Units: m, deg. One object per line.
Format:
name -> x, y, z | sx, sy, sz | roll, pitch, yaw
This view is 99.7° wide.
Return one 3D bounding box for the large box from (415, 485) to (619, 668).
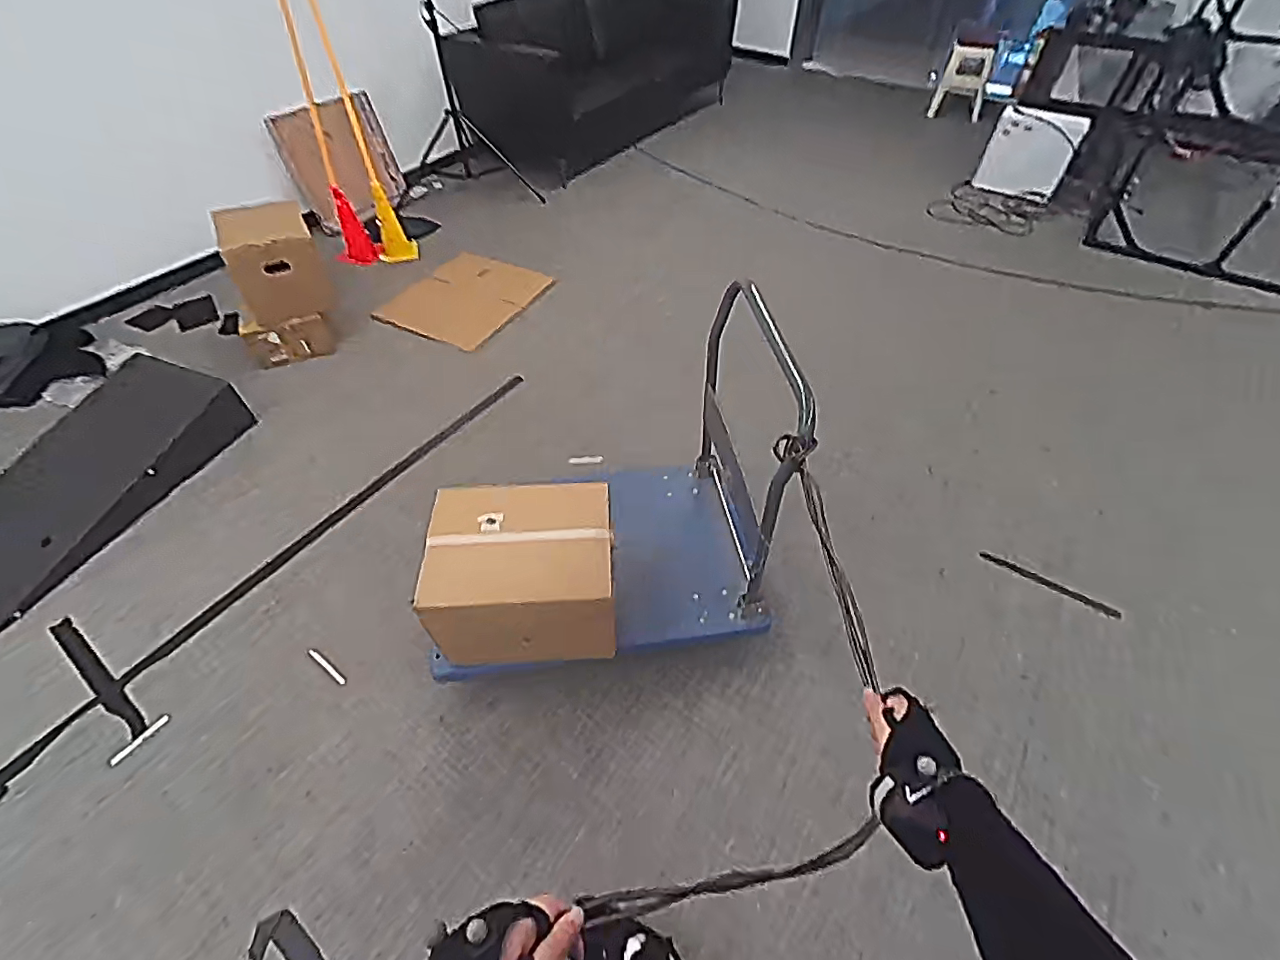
large box -> -0.263, 0.235, 1.296 | 0.408, 0.320, 0.320 | -3, 49, -2
